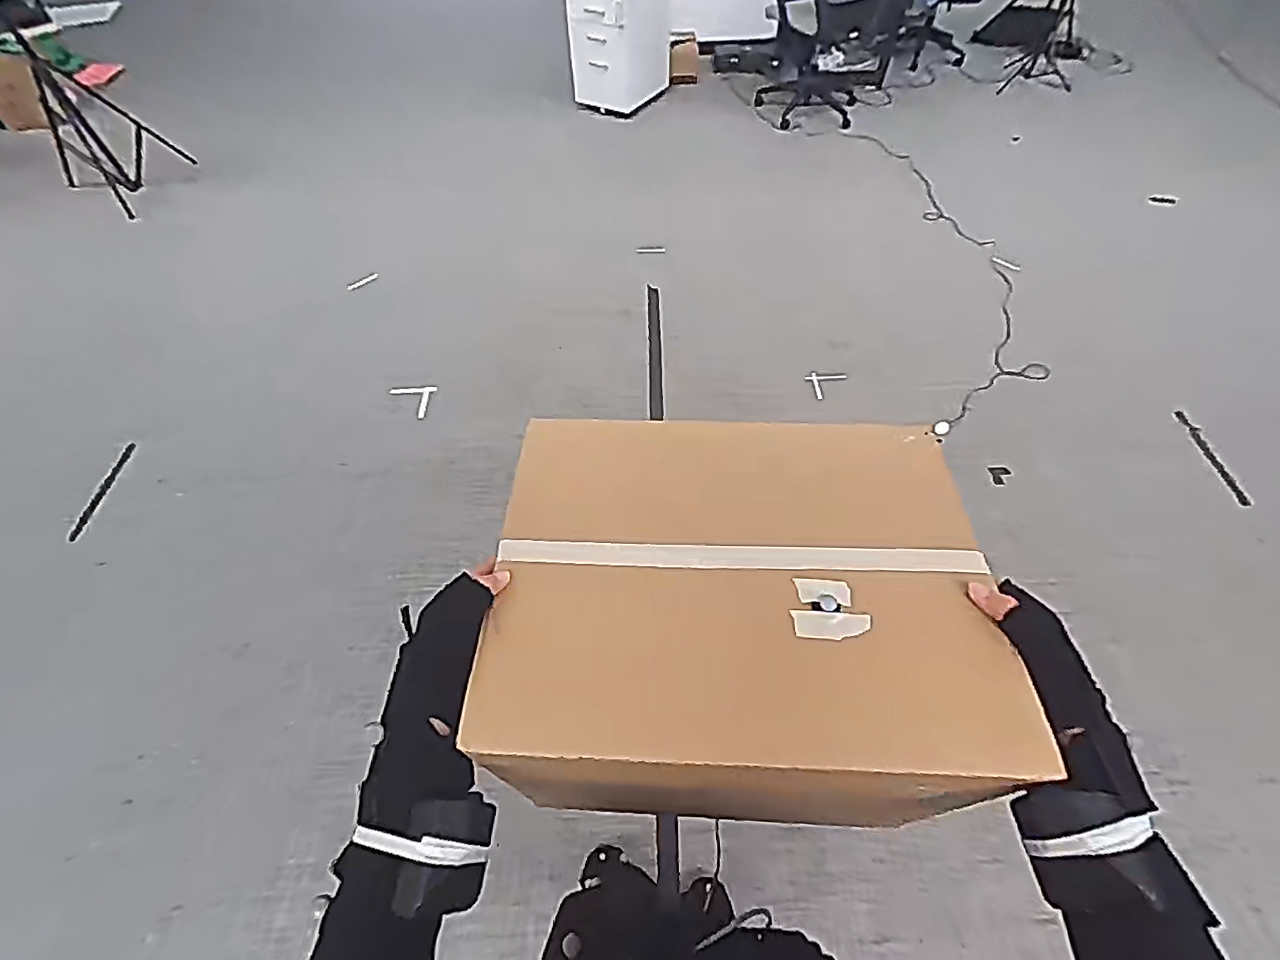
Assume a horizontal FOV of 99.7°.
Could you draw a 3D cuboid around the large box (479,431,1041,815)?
[{"bbox_3d":[0.087,0.162,0.585,0.408,0.320,0.320,1,54,3],"label":"large box"}]
